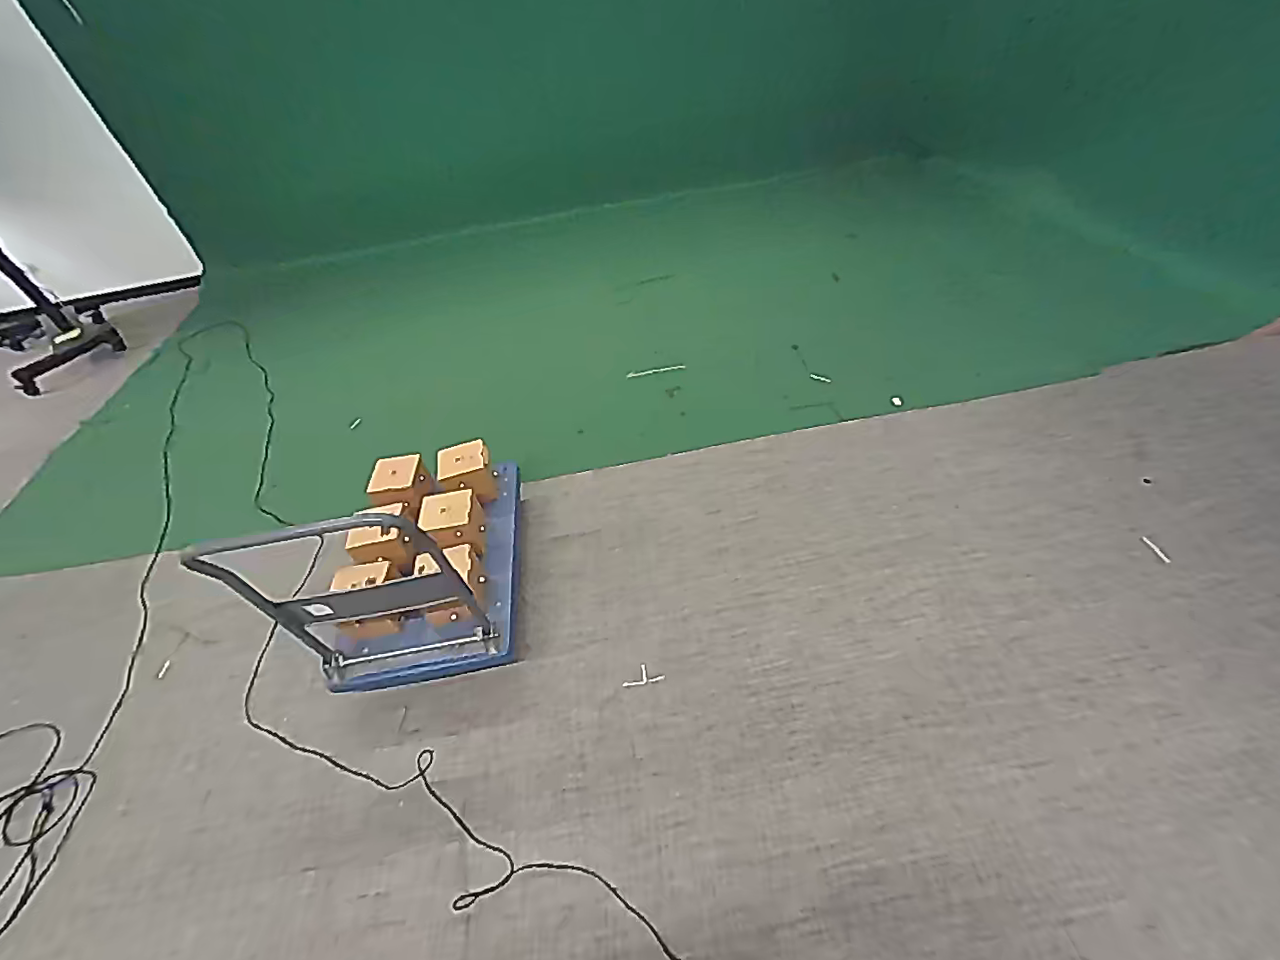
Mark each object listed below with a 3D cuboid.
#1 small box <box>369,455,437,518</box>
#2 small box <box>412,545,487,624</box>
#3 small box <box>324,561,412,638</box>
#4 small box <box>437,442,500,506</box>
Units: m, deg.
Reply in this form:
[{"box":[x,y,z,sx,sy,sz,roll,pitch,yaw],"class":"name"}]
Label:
[{"box":[-0.897,0.031,2.066,0.168,0.176,0.179,-7,46,1],"class":"small box"},{"box":[-0.595,0.335,1.719,0.179,0.176,0.168,-12,46,-2],"class":"small box"},{"box":[-0.854,0.383,1.718,0.179,0.176,0.168,-9,45,2],"class":"small box"},{"box":[-0.649,-0.017,2.064,0.179,0.176,0.168,-9,48,-1],"class":"small box"}]
